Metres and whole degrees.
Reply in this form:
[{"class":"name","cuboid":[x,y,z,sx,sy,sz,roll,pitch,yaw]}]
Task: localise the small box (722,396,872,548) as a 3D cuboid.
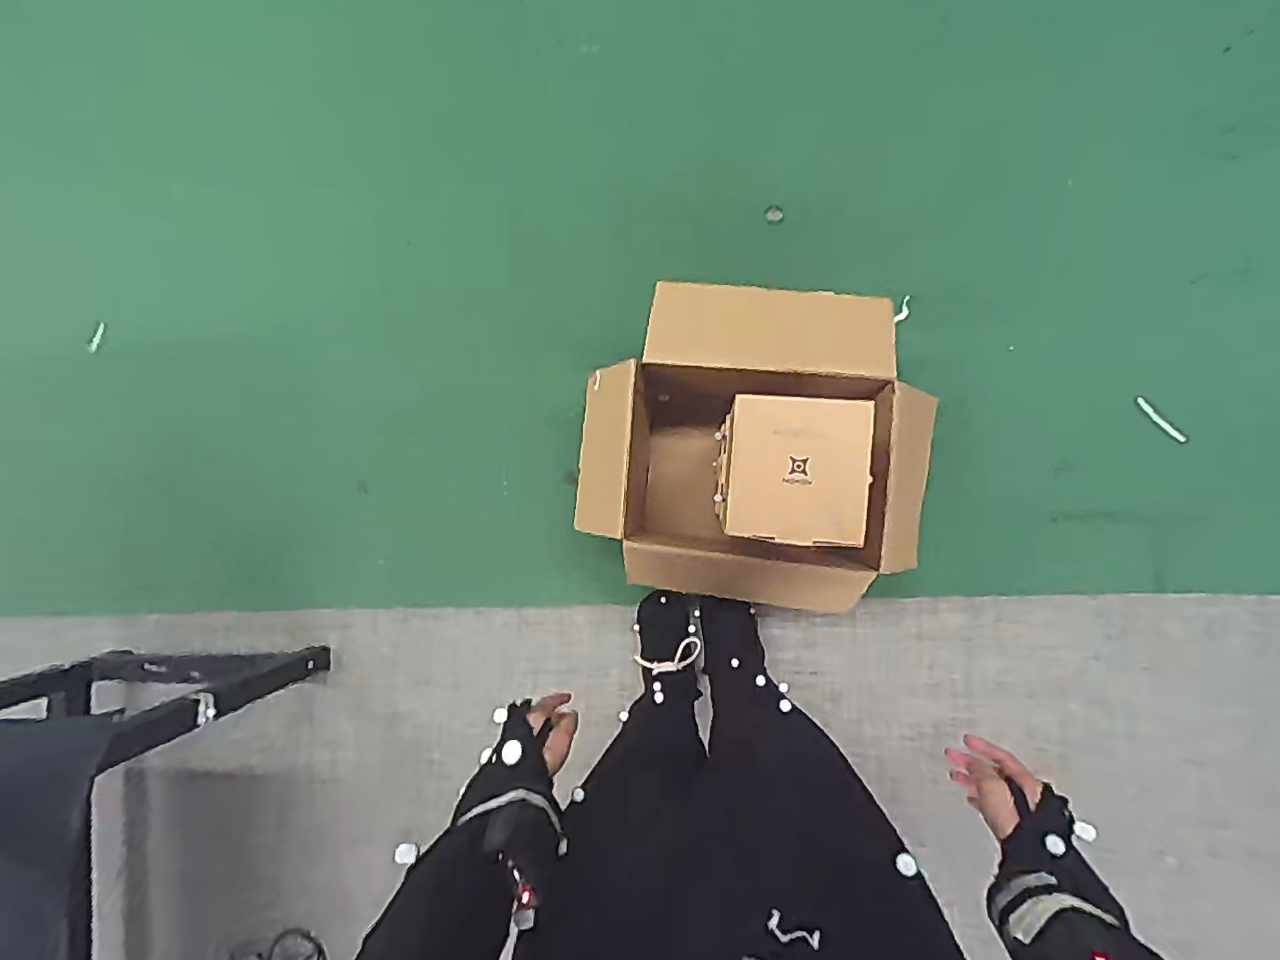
[{"class":"small box","cuboid":[0.199,-0.008,0.728,0.168,0.176,0.179,4,88,7]}]
